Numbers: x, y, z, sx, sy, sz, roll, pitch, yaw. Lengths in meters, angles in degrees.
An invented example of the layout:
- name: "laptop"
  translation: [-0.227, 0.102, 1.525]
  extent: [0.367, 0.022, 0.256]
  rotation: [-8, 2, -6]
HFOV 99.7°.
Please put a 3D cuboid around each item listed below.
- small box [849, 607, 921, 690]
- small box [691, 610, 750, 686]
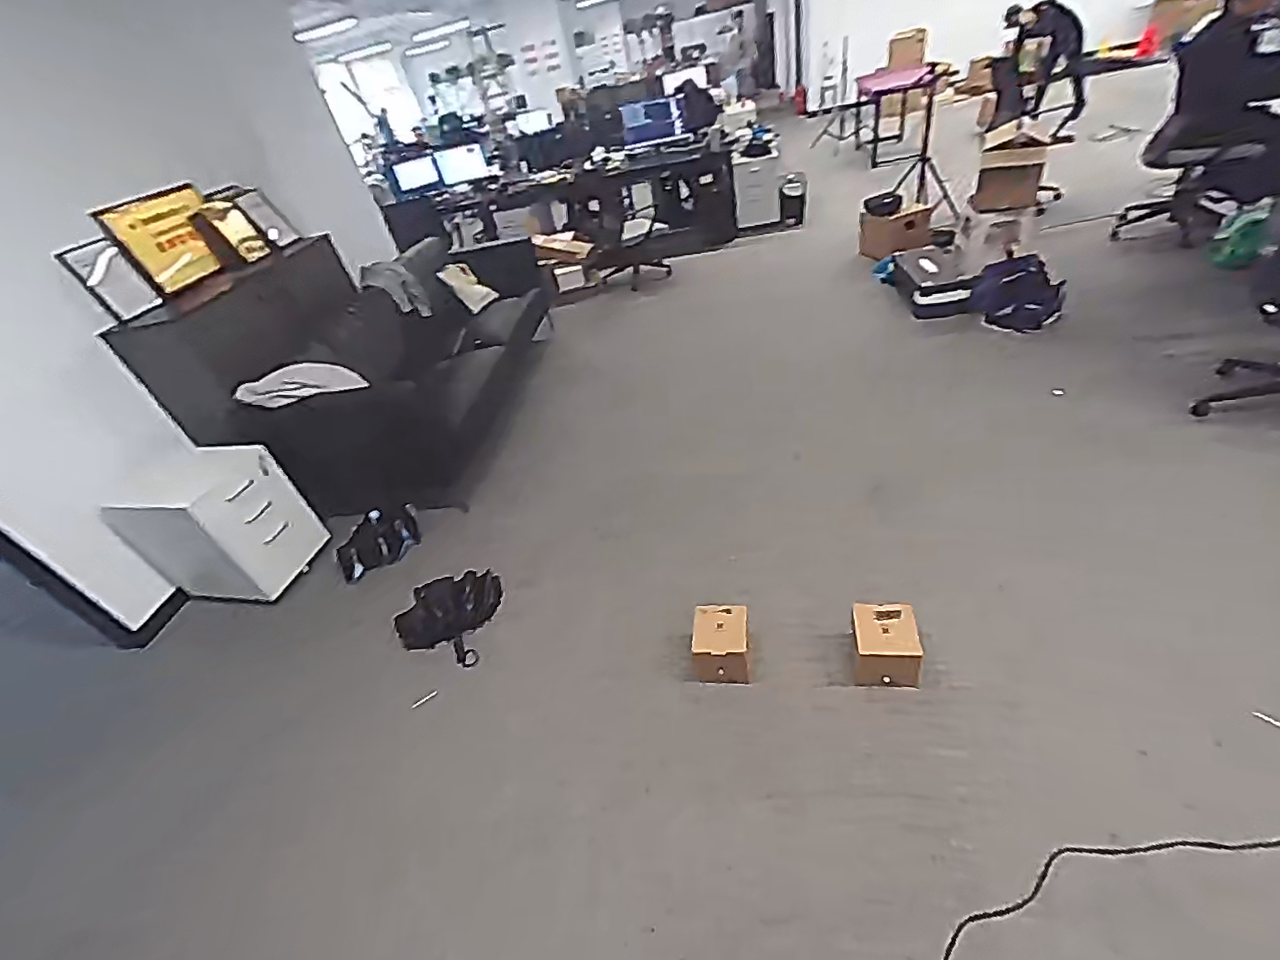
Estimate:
- name: "small box"
  translation: [0.725, 0.502, 1.618]
  extent: [0.168, 0.176, 0.179]
  rotation: [-4, 40, 15]
- name: "small box"
  translation: [0.263, 0.538, 1.729]
  extent: [0.168, 0.176, 0.179]
  rotation: [-3, 39, 14]
